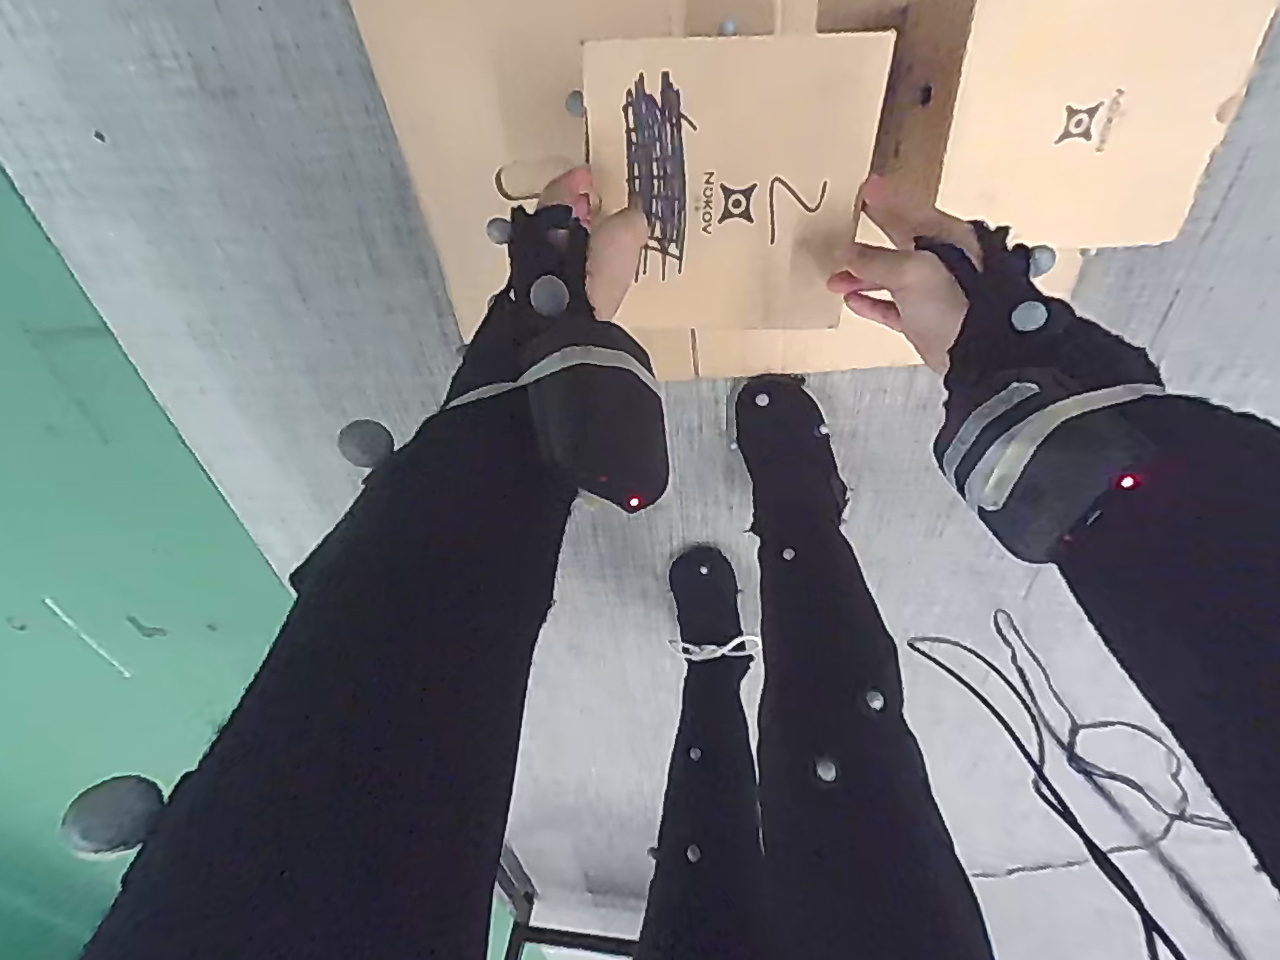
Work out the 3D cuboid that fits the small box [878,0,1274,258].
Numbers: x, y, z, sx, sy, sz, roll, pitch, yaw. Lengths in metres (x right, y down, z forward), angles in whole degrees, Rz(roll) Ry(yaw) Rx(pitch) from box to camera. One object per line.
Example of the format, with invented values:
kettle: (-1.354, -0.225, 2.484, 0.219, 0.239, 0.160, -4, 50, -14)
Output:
small box: (0.304, -0.285, 0.428, 0.179, 0.176, 0.168, 0, 126, 9)
